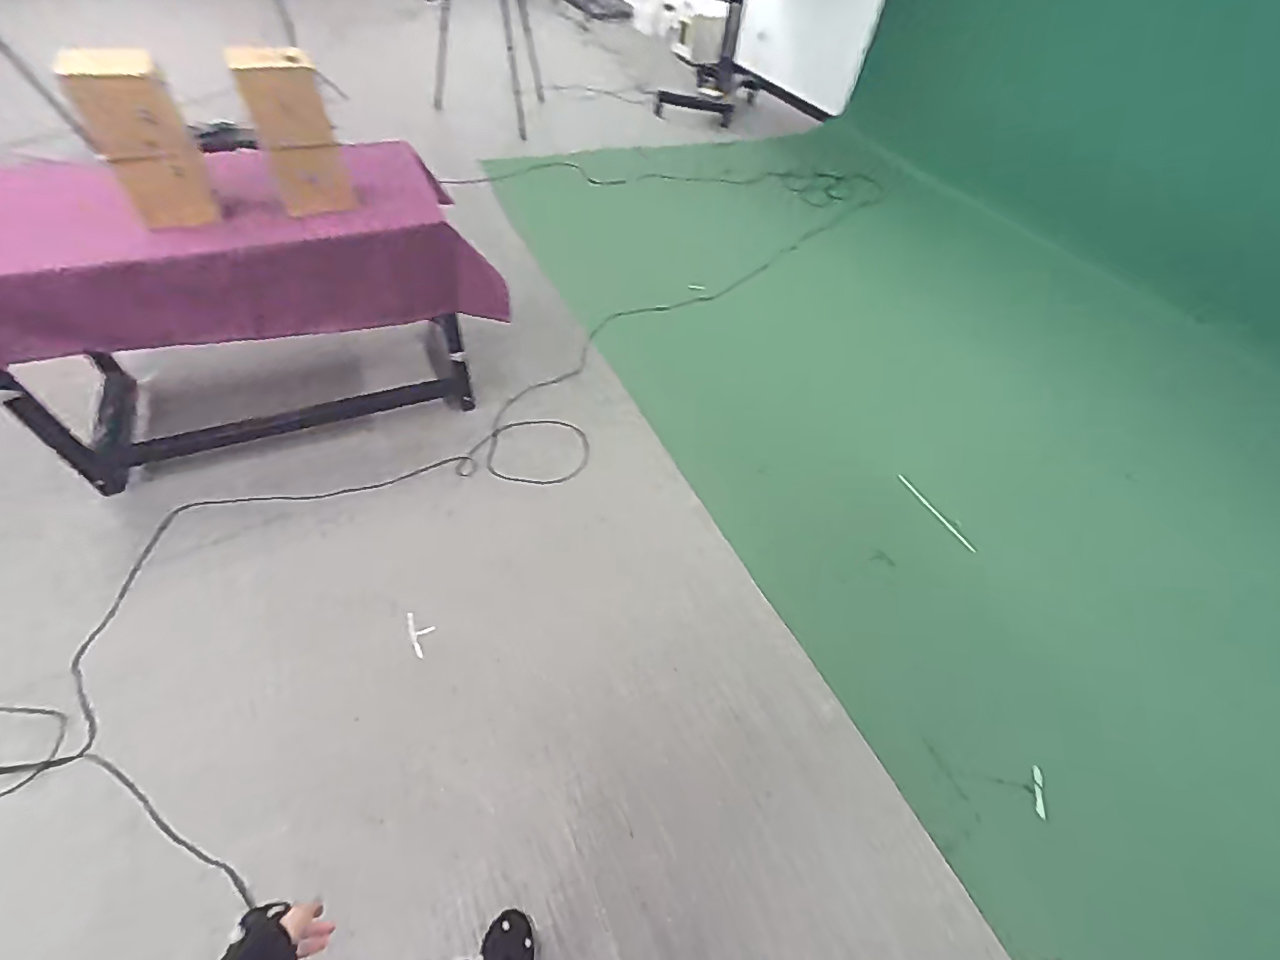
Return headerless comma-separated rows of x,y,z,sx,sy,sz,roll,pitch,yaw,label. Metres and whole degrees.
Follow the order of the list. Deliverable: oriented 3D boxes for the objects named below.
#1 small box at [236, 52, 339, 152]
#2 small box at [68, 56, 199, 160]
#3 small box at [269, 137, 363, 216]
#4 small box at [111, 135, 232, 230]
-0.881,-0.954,1.365,0.179,0.176,0.168,-19,54,-20,small box
-1.172,-0.869,1.268,0.168,0.176,0.179,-17,53,-21,small box
-0.895,-0.851,1.493,0.179,0.176,0.168,-20,55,-20,small box
-1.193,-0.763,1.390,0.179,0.176,0.168,-16,54,-20,small box
